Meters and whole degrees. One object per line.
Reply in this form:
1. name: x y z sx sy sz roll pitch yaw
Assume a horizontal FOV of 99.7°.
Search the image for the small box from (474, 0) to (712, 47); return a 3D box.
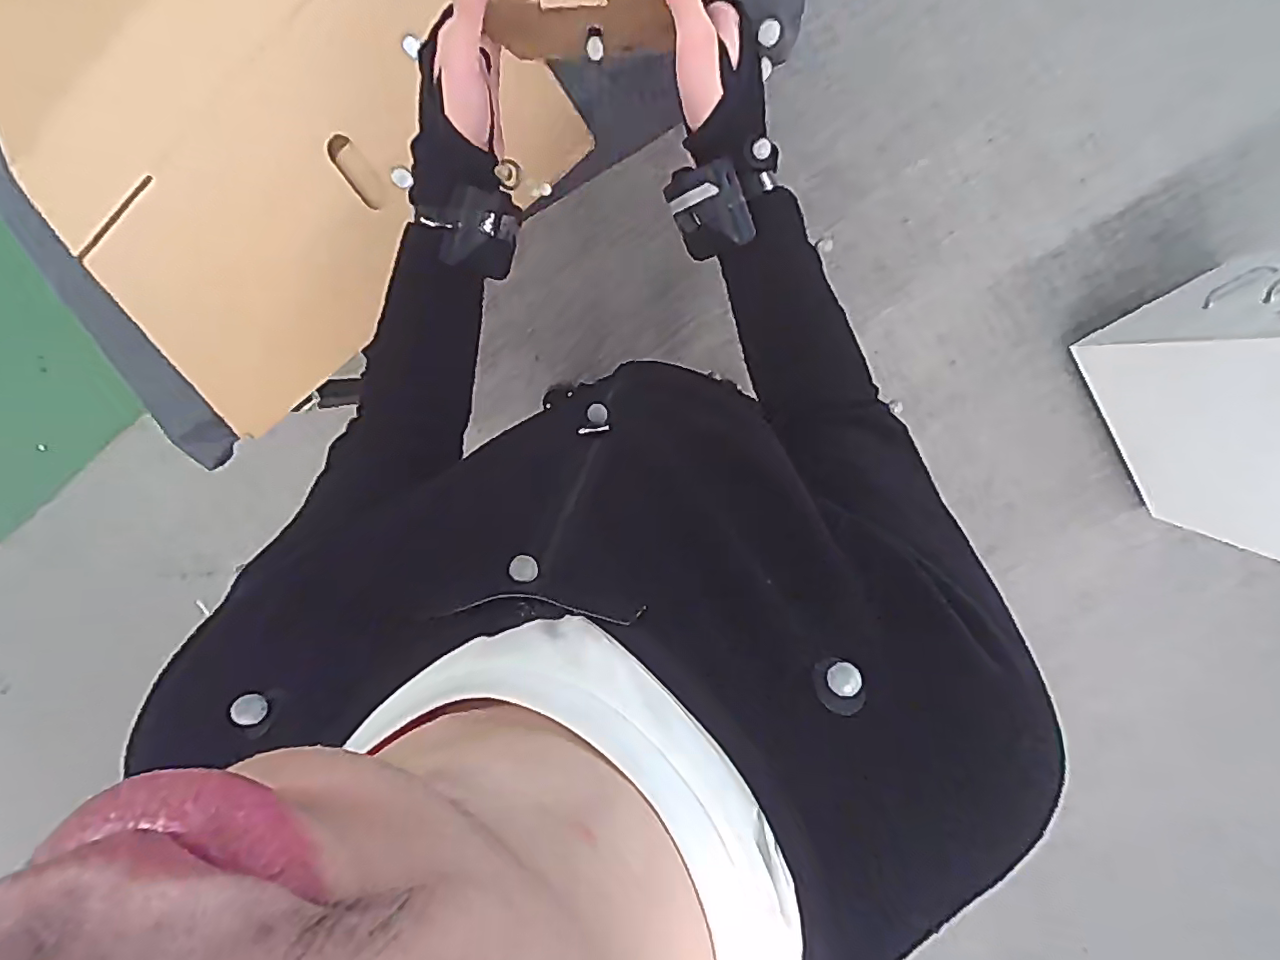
1. small box: -0.030 -0.437 0.386 0.168 0.176 0.179 -1 117 6
